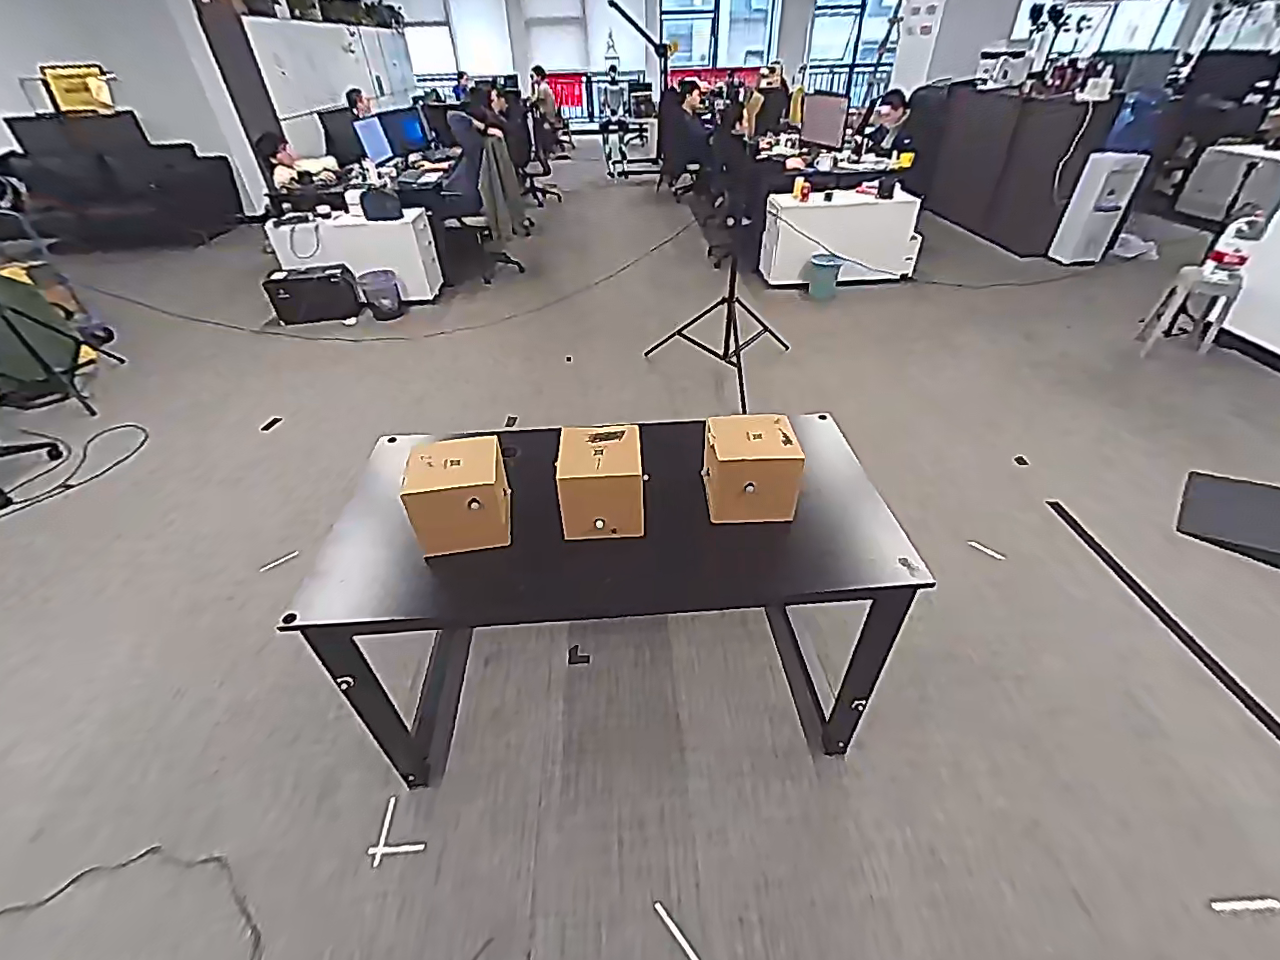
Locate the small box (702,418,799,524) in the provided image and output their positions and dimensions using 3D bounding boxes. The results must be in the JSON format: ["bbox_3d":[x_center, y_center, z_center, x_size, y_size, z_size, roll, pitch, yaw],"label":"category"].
[{"bbox_3d":[0.229,-0.017,1.165,0.179,0.176,0.168,-3,38,1],"label":"small box"}]

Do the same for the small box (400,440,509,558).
[{"bbox_3d":[-0.371,0.039,1.119,0.179,0.176,0.168,-8,39,-7],"label":"small box"}]

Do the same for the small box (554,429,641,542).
[{"bbox_3d":[-0.084,0.010,1.144,0.168,0.176,0.179,-3,39,-1],"label":"small box"}]
